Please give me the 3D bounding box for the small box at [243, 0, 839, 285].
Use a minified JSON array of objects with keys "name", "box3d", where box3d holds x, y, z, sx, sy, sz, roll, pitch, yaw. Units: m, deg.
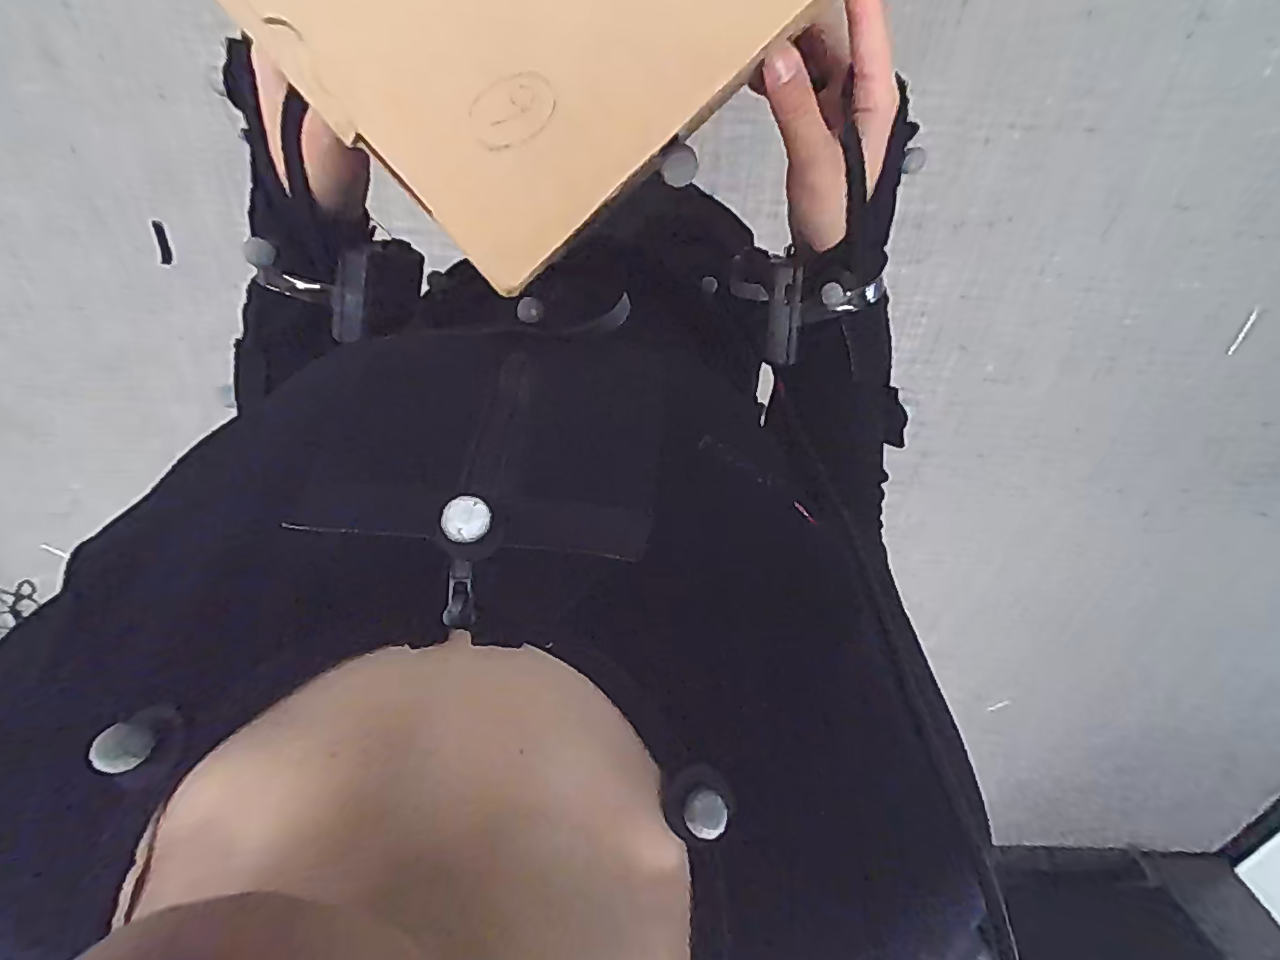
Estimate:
[{"name":"small box","box3d":[-0.026,-0.201,0.193,0.179,0.176,0.168,-36,112,19]}]
